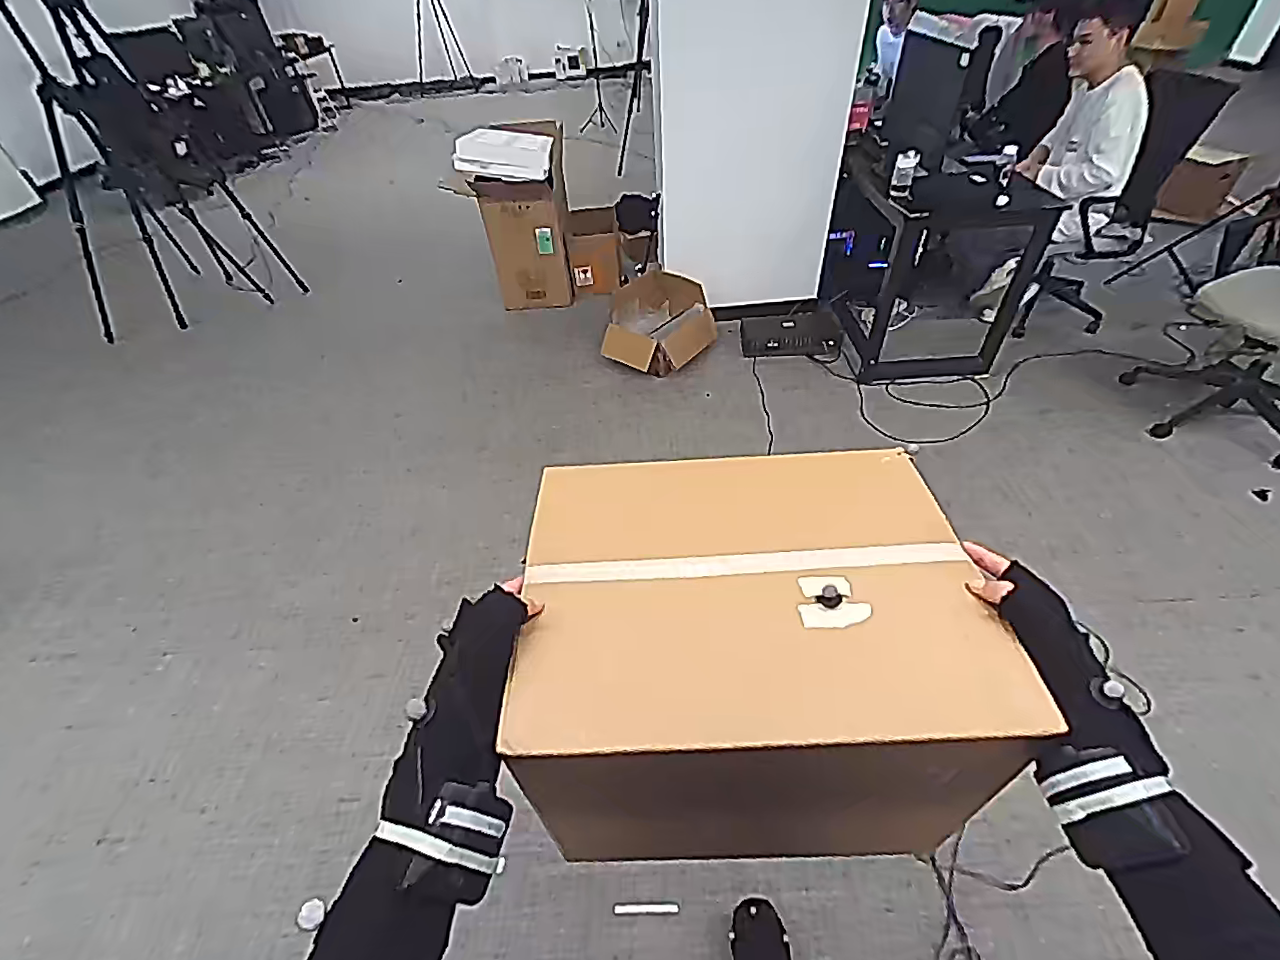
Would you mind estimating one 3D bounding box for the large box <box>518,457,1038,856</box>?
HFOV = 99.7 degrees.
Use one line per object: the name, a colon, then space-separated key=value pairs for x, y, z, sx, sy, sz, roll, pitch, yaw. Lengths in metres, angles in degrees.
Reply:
large box: x=0.106 y=0.198 z=0.615 sx=0.408 sy=0.320 sz=0.320 roll=-3 pitch=43 yaw=2
